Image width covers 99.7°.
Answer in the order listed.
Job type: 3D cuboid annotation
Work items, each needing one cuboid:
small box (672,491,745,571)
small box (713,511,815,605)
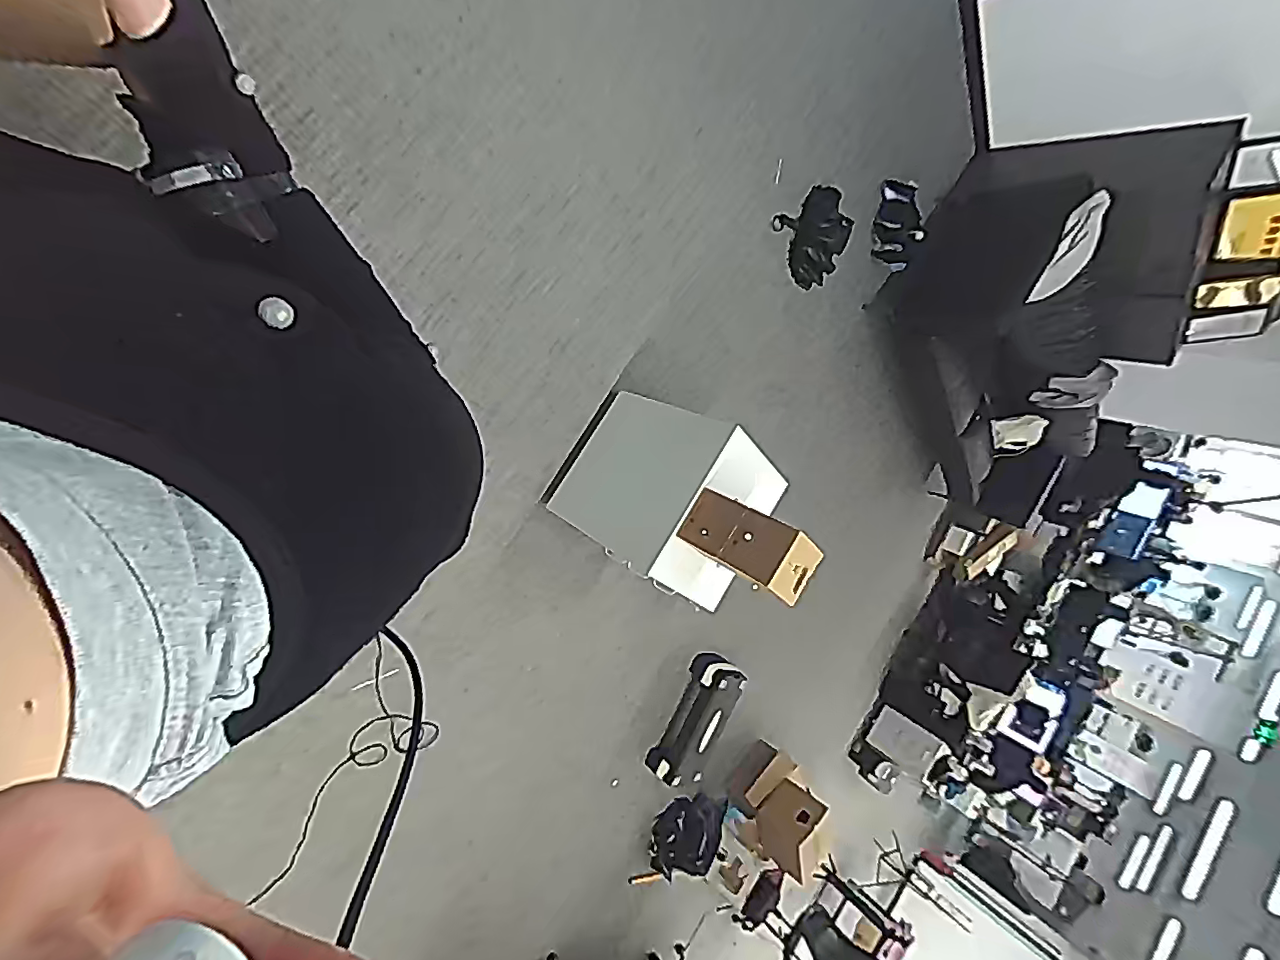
[{"bbox_3d":[0.222,0.150,1.554,0.179,0.176,0.168,38,82,-47],"label":"small box"},{"bbox_3d":[0.330,0.204,1.442,0.179,0.176,0.168,39,81,-45],"label":"small box"}]
